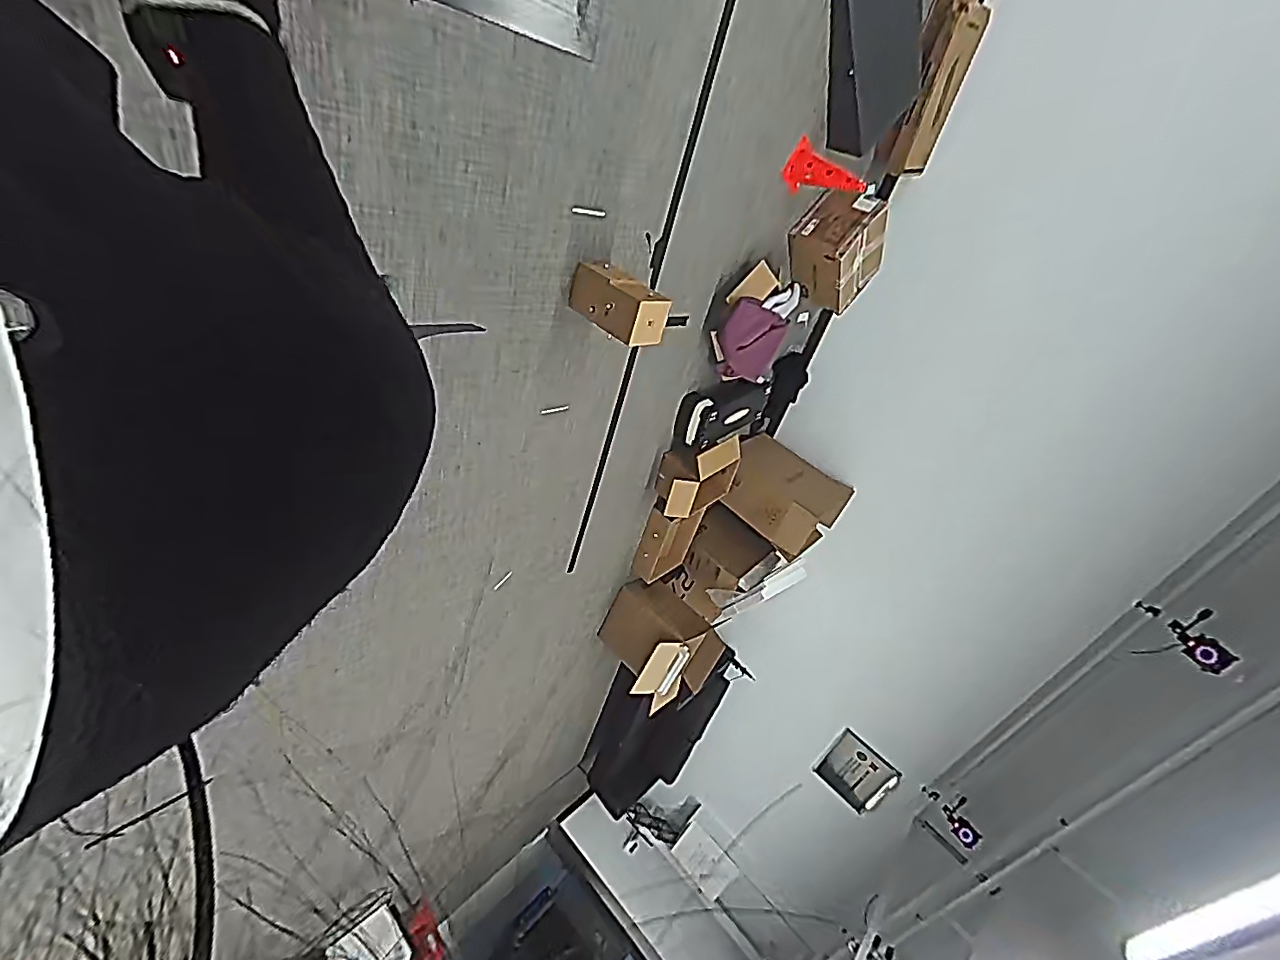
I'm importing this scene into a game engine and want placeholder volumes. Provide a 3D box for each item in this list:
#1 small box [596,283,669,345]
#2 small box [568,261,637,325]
[{"bbox_3d":[-0.031,-0.605,1.956,0.179,0.176,0.168,-20,138,-44],"label":"small box"},{"bbox_3d":[-0.146,-0.699,2.022,0.168,0.176,0.179,-20,139,-46],"label":"small box"}]
